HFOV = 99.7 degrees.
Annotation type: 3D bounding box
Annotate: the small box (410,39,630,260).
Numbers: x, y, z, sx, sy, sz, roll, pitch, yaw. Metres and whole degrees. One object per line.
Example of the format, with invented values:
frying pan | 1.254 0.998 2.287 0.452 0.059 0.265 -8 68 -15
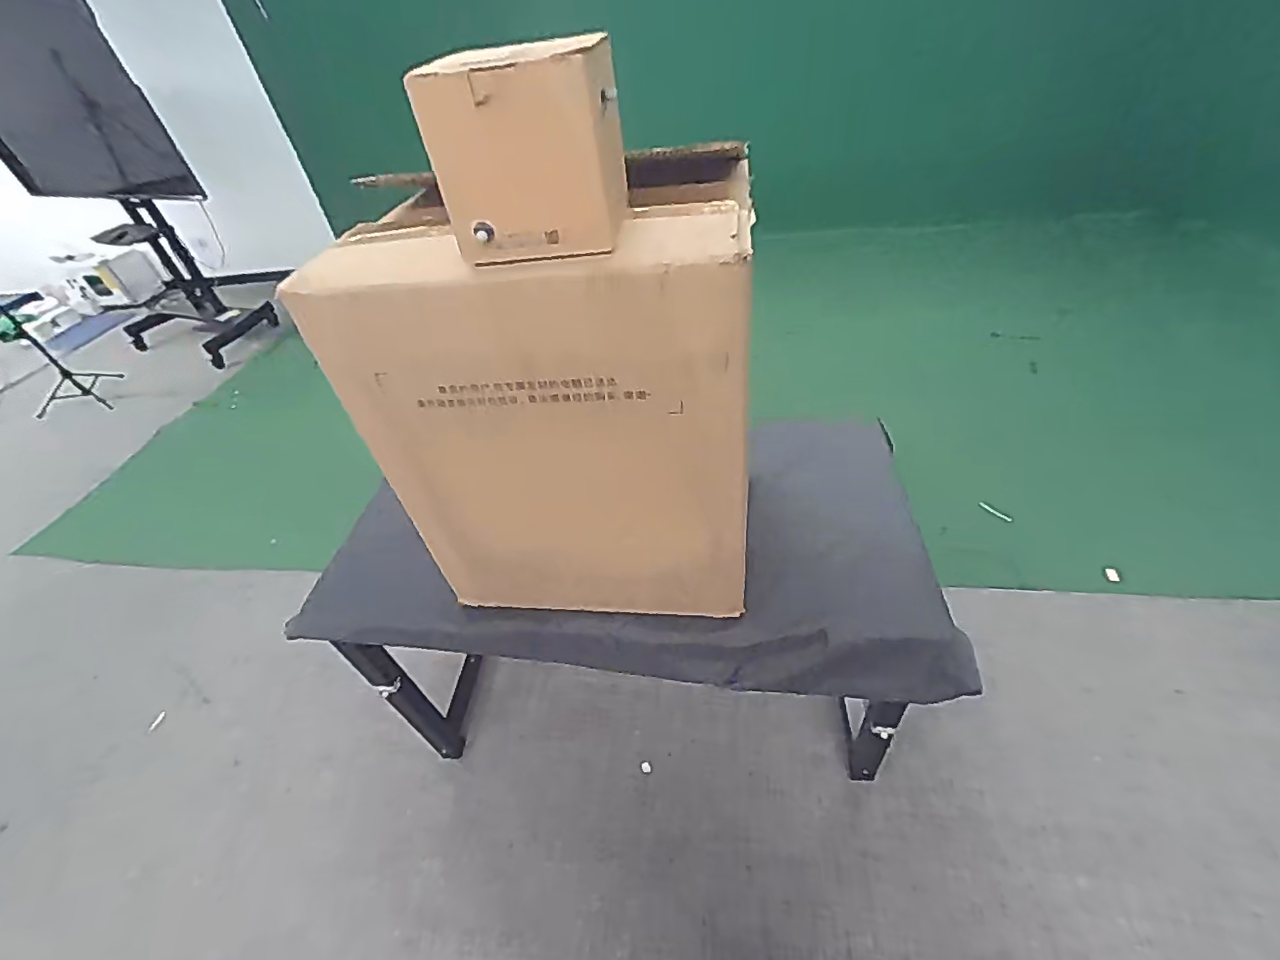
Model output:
small box | -0.108 -0.347 0.581 0.168 0.176 0.179 -1 43 8
